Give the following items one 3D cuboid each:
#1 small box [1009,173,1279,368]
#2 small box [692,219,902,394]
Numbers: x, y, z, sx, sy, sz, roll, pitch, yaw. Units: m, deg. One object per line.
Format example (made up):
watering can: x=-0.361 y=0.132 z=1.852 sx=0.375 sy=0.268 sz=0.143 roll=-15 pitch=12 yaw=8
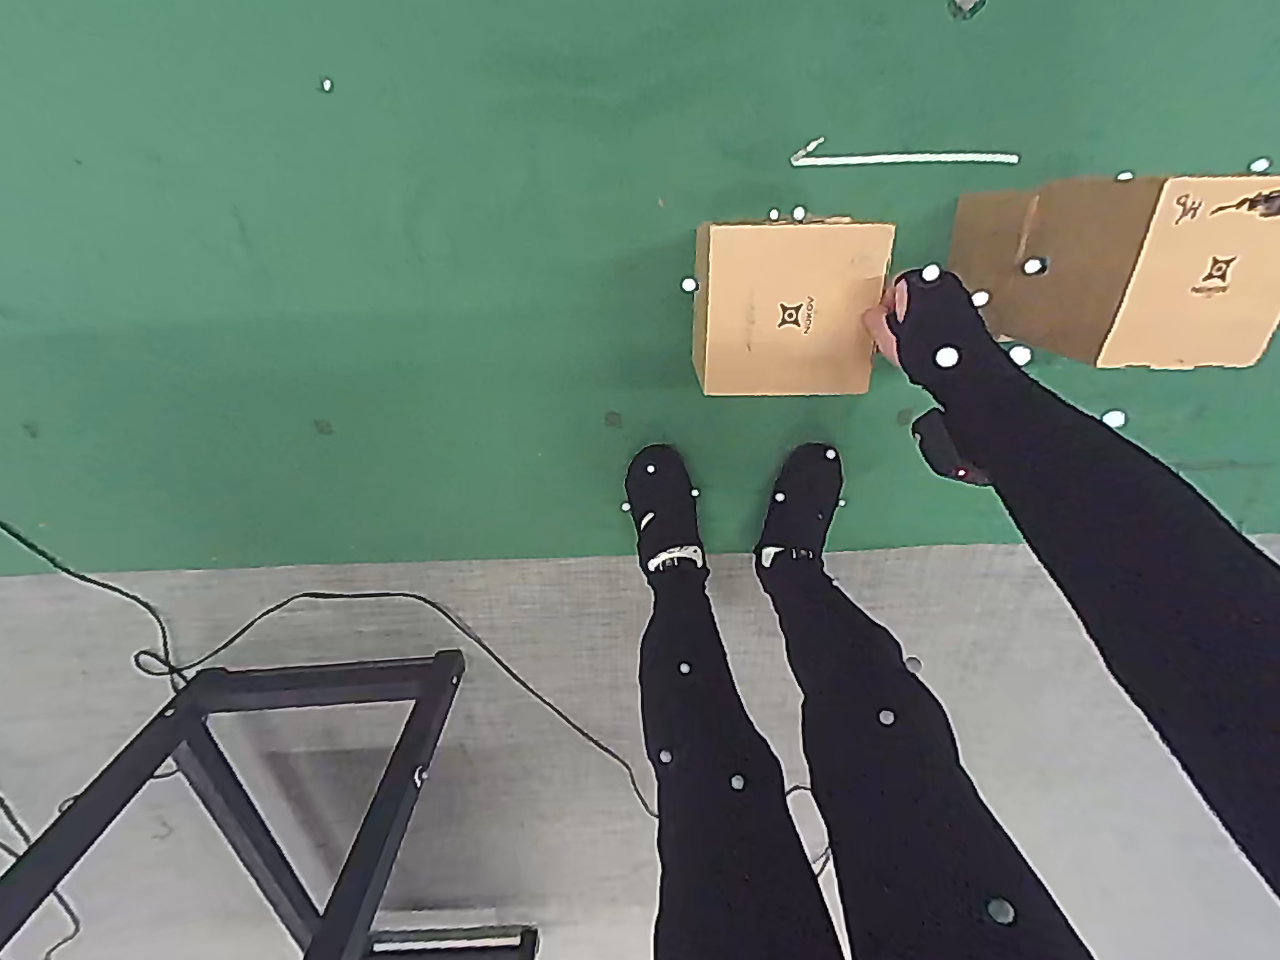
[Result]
small box: x=0.546 y=-0.231 z=0.586 sx=0.168 sy=0.176 sz=0.179 roll=0 pitch=118 yaw=-1
small box: x=0.155 y=-0.199 z=0.604 sx=0.179 sy=0.176 sz=0.168 roll=0 pitch=115 yaw=1
